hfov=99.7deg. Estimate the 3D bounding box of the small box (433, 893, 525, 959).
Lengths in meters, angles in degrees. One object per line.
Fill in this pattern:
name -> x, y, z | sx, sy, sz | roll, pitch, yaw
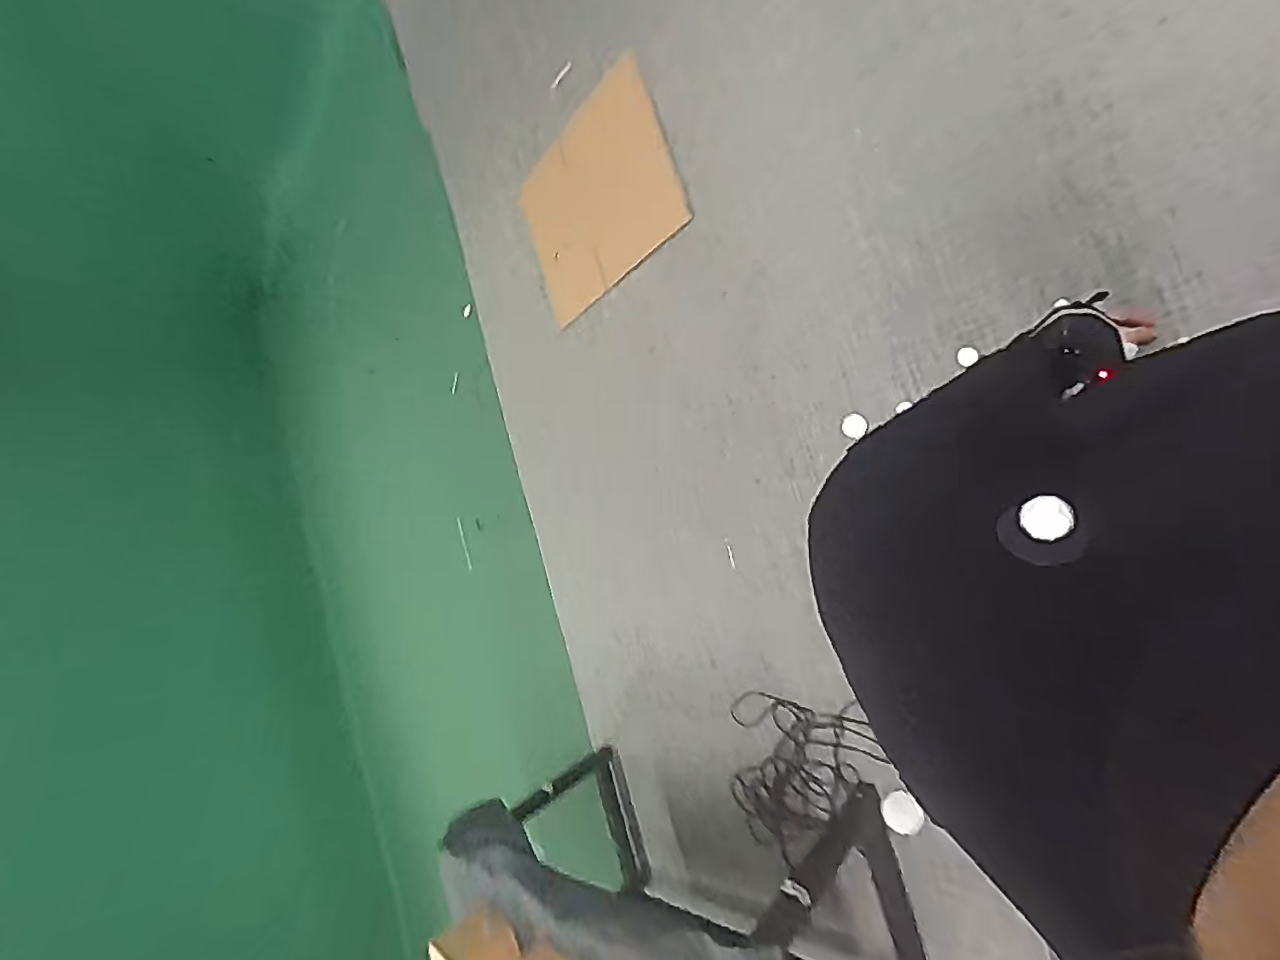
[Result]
small box -> -0.430, 1.284, 1.463 | 0.168, 0.176, 0.179 | -11, 90, 43
